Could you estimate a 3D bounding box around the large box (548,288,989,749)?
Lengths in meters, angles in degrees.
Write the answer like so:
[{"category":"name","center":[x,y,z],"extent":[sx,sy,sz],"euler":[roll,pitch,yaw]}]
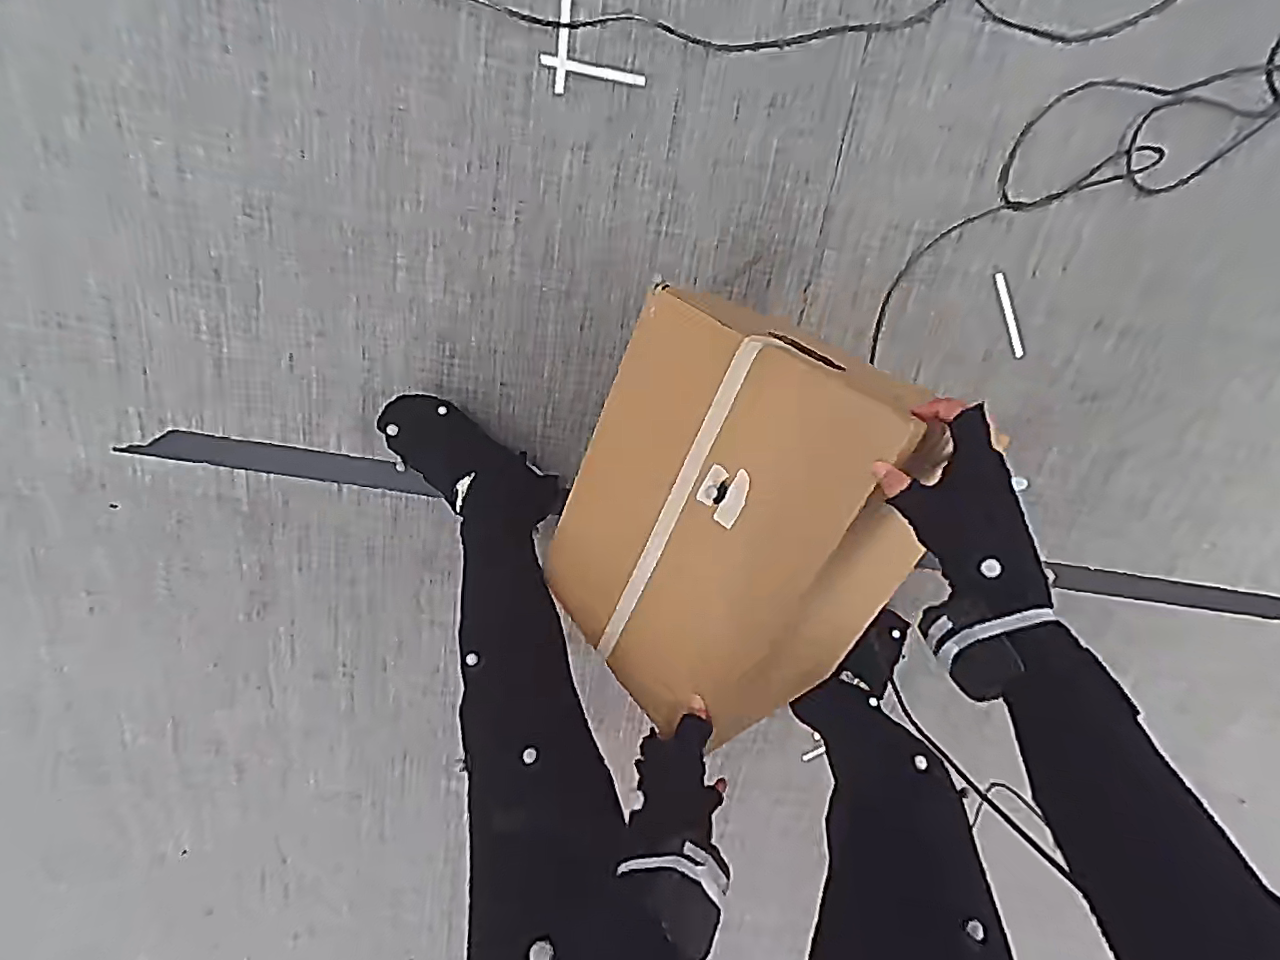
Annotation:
[{"category":"large box","center":[0.140,0.036,0.683],"extent":[0.320,0.320,0.408],"euler":[-2,124,-46]}]
